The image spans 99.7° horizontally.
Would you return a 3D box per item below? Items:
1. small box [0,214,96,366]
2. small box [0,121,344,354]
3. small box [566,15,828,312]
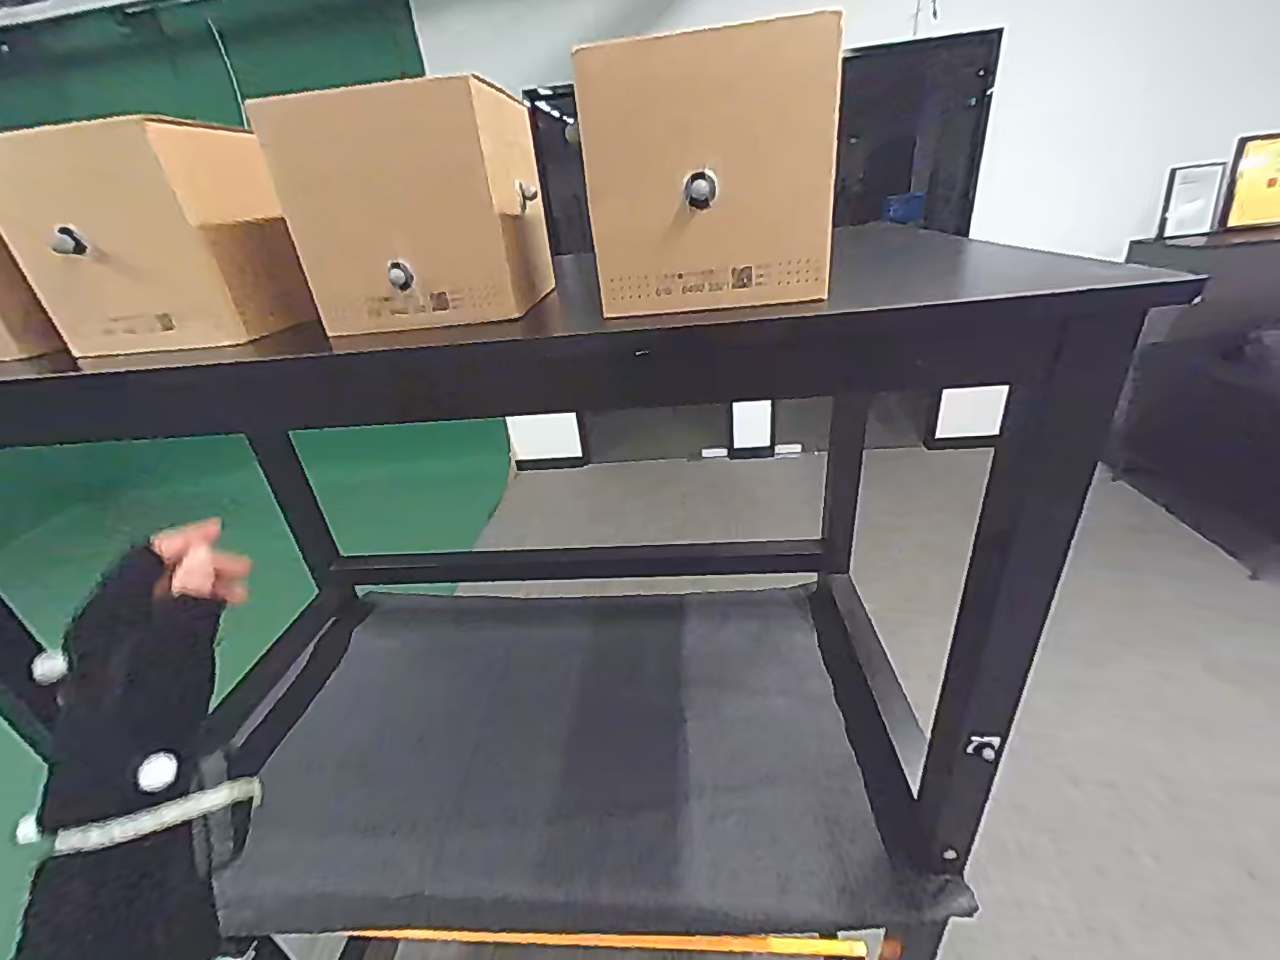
[{"bbox_3d":[-0.642,-0.219,0.549,0.168,0.176,0.179,-2,29,7],"label":"small box"},{"bbox_3d":[-0.420,-0.220,0.512,0.168,0.176,0.179,-2,27,8],"label":"small box"},{"bbox_3d":[0.050,-0.236,0.439,0.168,0.176,0.179,-2,28,7],"label":"small box"}]
